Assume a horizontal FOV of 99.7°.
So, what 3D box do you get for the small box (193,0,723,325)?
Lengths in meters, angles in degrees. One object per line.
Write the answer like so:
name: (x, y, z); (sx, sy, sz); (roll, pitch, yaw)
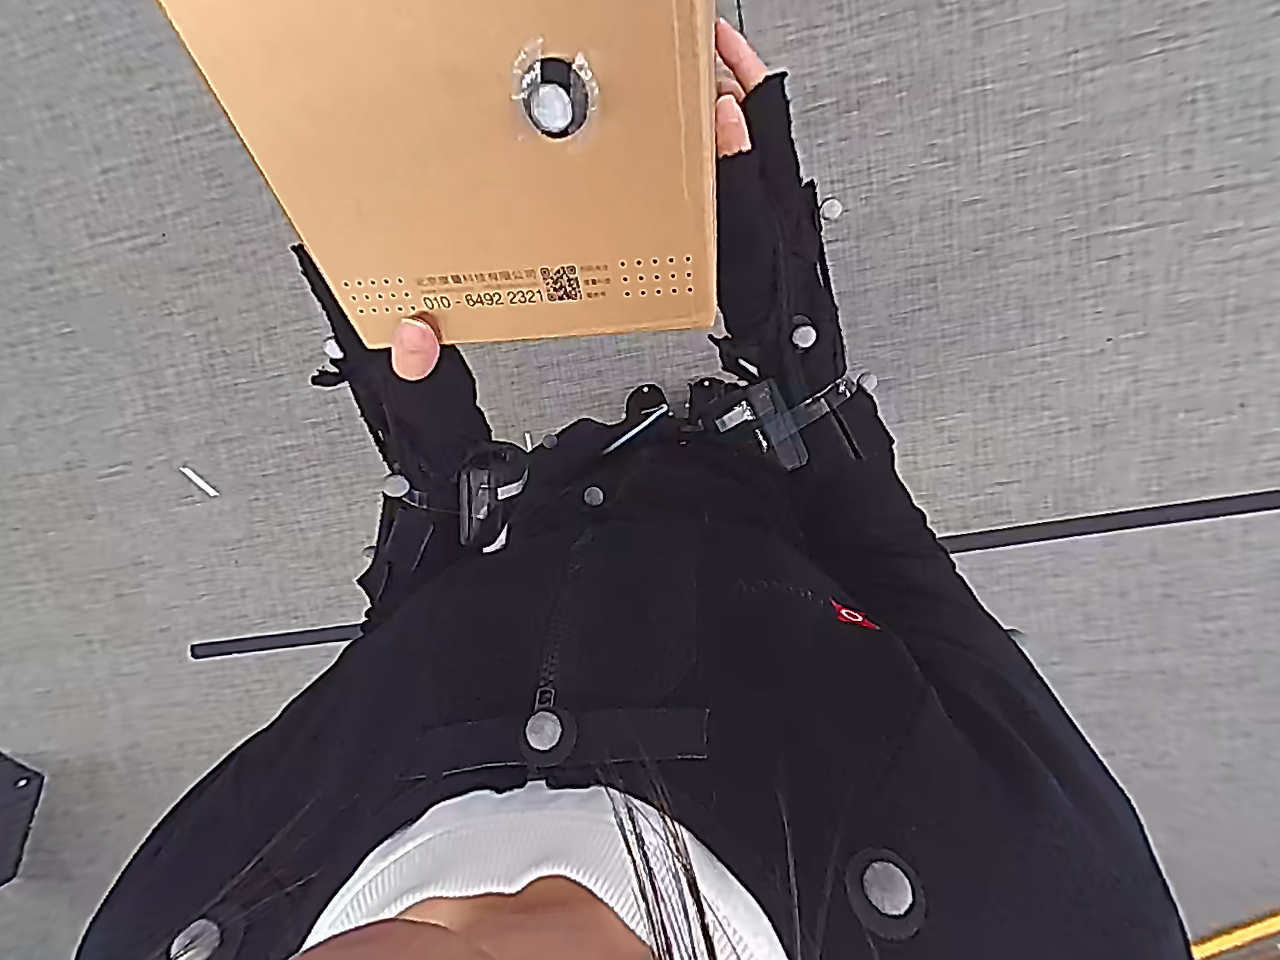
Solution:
small box: (-0.048, -0.186, 0.255); (0.168, 0.179, 0.176); (0, 139, 10)
